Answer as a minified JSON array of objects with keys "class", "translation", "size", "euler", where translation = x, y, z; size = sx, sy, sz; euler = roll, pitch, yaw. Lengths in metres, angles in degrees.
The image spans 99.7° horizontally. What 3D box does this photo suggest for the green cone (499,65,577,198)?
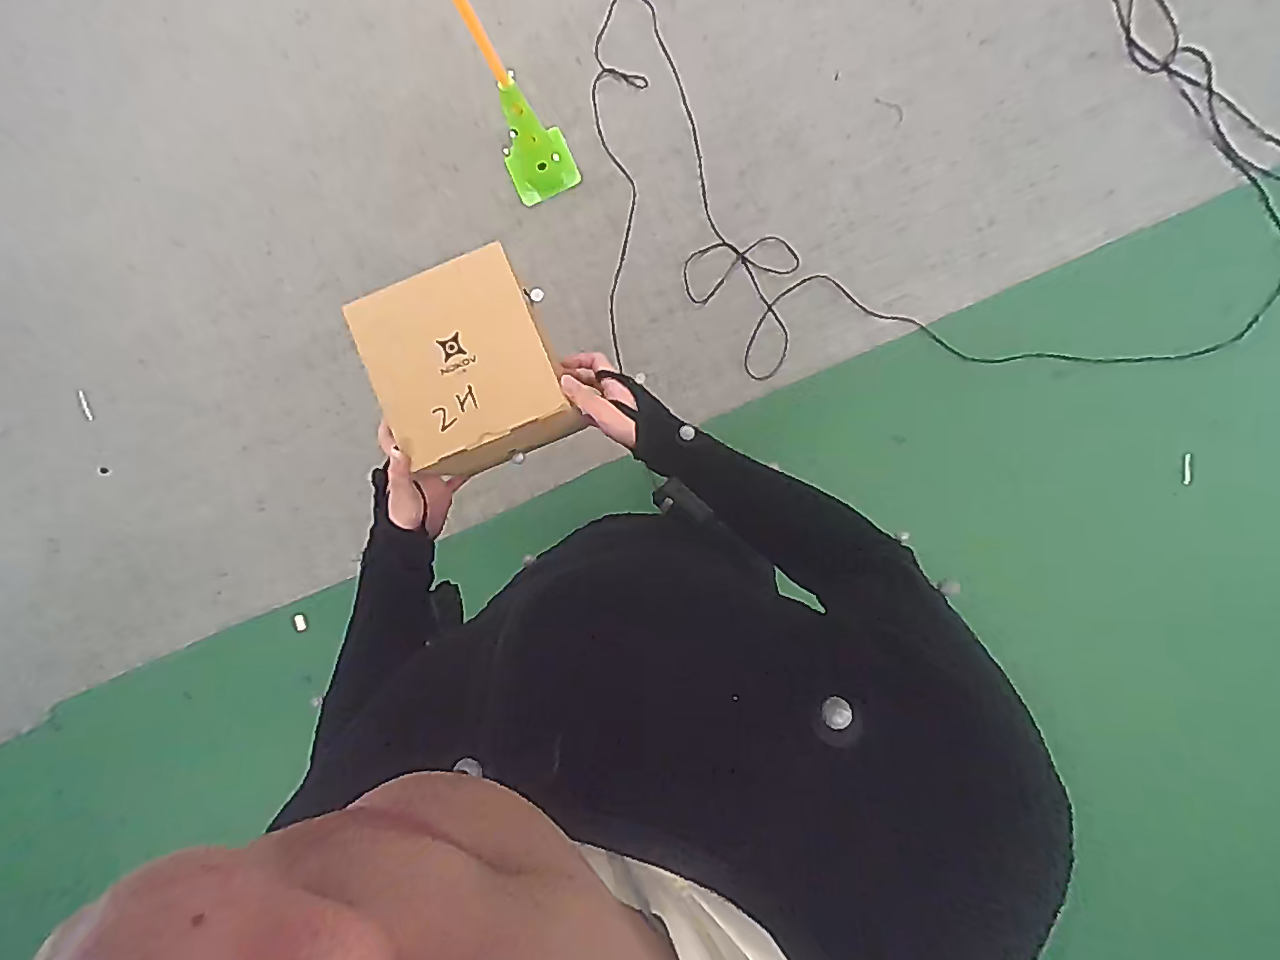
[{"class":"green cone","translation":[-0.326,-1.002,1.516],"size":[0.202,0.368,0.200],"euler":[-24,88,2]}]
